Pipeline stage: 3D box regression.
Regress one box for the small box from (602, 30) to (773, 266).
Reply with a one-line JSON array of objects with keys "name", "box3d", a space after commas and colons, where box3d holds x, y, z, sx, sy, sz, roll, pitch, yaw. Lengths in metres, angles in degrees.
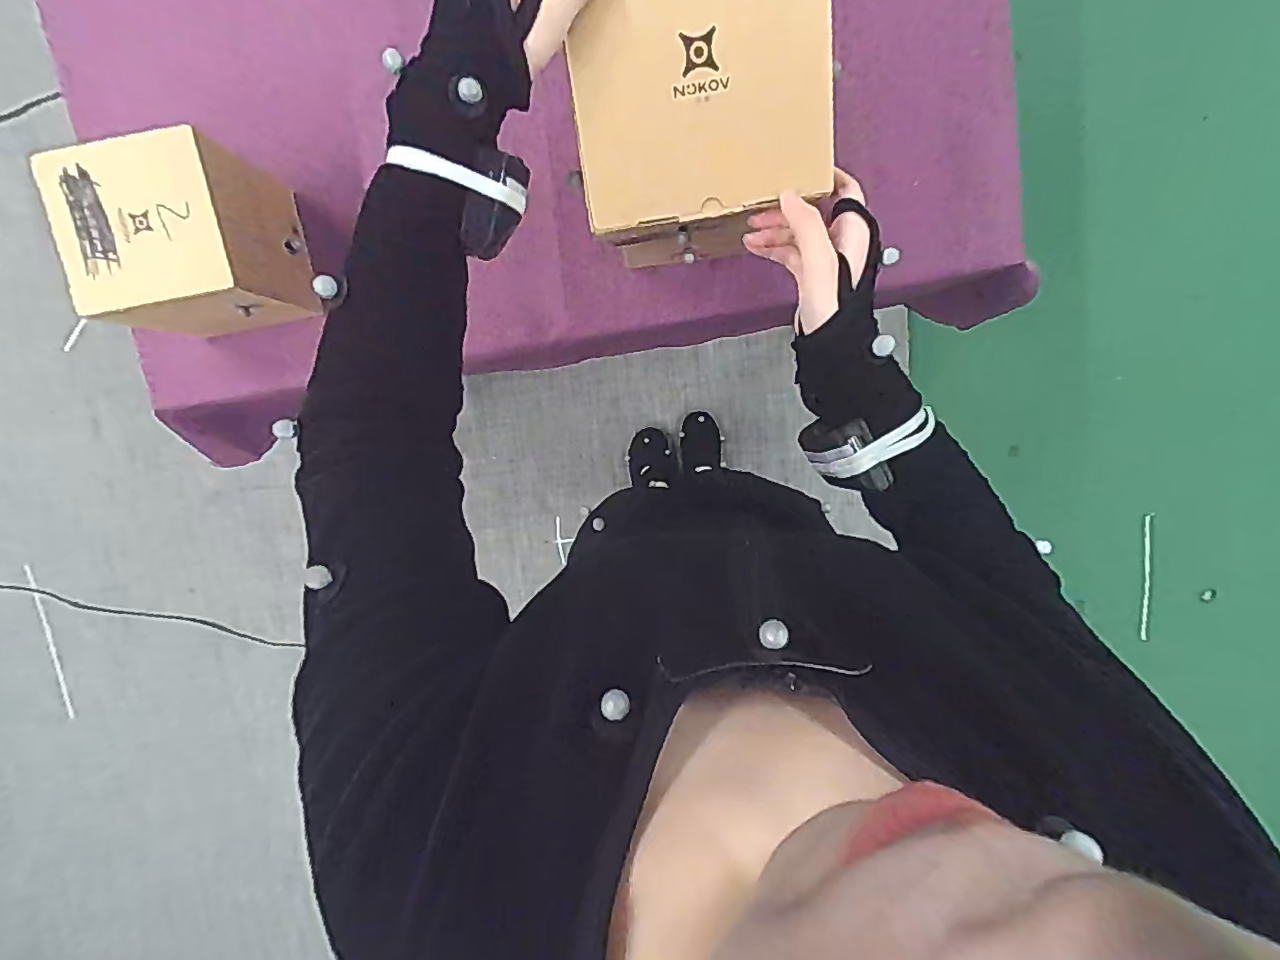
[{"name": "small box", "box3d": [0.049, -0.366, 0.628, 0.168, 0.176, 0.179, -6, 99, 1]}]
